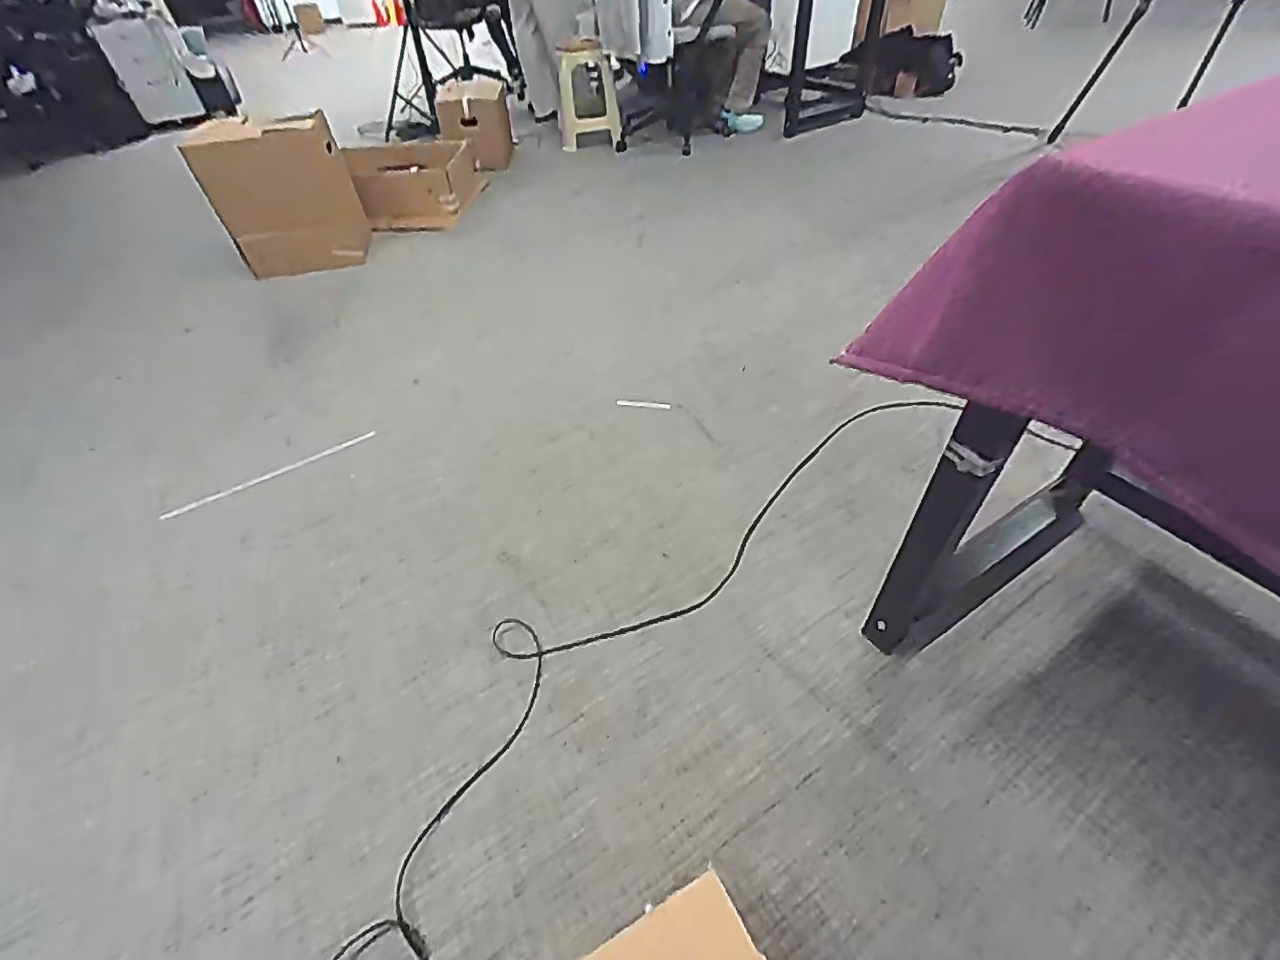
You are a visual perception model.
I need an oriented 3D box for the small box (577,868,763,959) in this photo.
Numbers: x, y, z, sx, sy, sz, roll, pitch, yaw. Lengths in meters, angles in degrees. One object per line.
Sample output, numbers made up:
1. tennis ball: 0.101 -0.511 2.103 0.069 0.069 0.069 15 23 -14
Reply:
1. small box: 0.047 0.560 0.571 0.179 0.176 0.168 -23 49 -18
